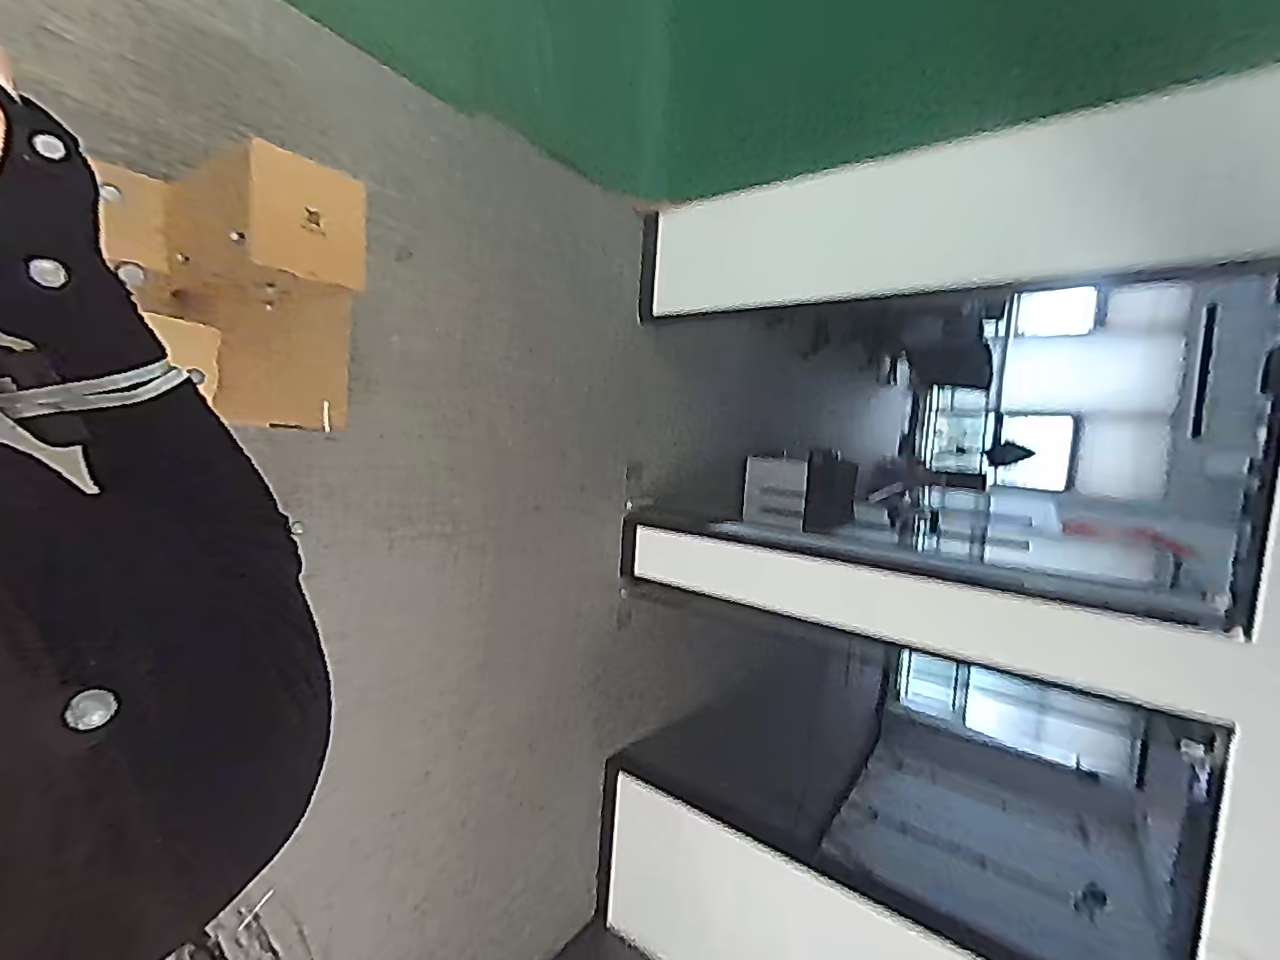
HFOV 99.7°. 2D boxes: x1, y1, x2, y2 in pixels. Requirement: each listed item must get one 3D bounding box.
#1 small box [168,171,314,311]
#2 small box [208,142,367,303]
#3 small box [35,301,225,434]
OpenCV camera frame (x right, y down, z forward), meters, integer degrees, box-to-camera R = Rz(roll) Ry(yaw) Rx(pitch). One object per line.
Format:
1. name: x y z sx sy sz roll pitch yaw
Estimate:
1. small box: -0.701 -0.404 0.954 0.168 0.176 0.179 -5 99 -56
2. small box: -0.564 -0.395 0.866 0.168 0.176 0.179 -4 99 -56
3. small box: -0.798 -0.171 0.850 0.179 0.176 0.168 6 92 -56
